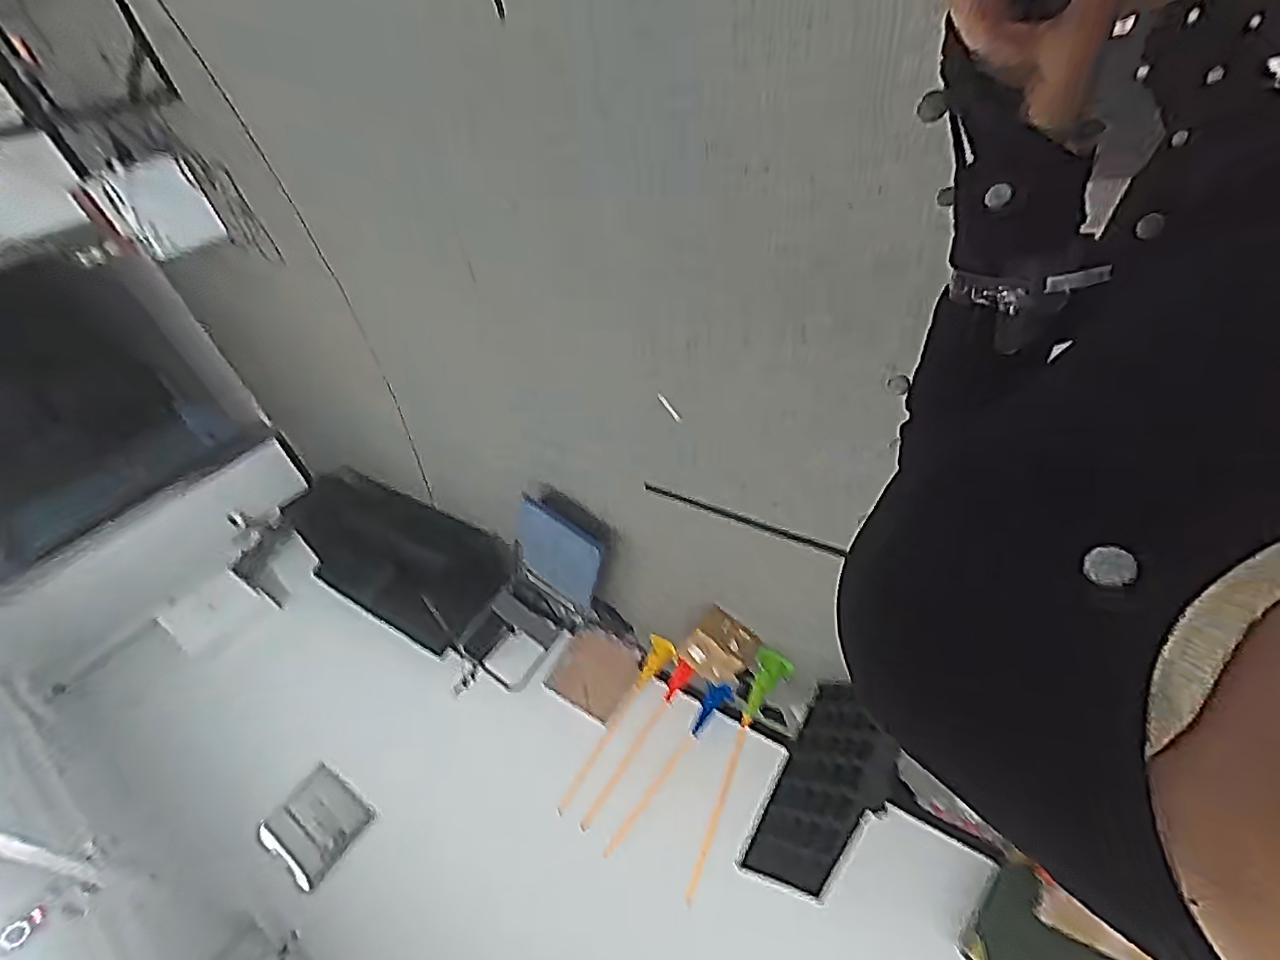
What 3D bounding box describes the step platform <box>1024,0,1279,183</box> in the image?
[{"bbox_3d":[1.017,-0.636,0.834,0.684,0.204,0.286,23,141,27],"label":"step platform"}]
